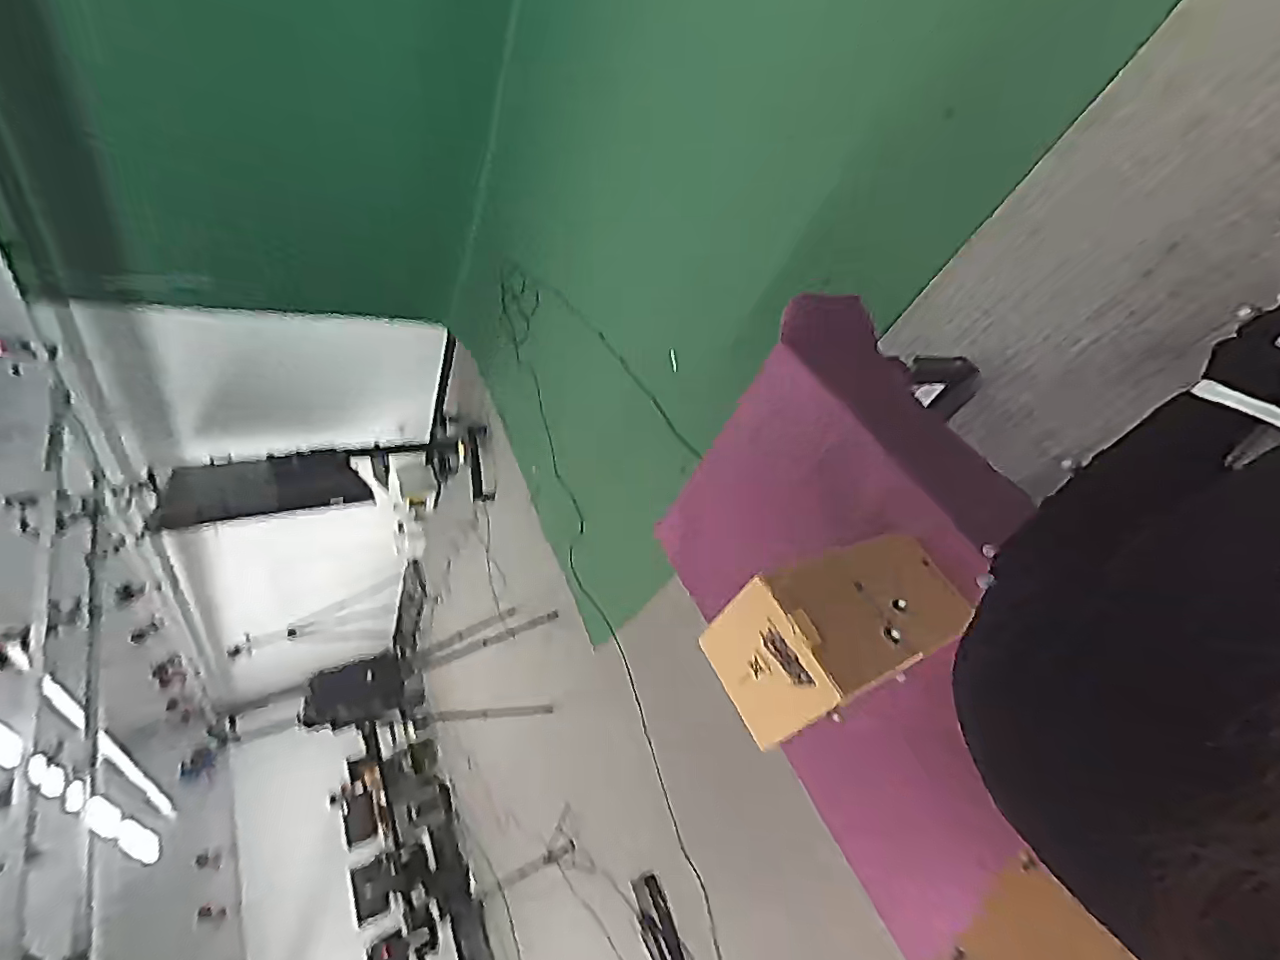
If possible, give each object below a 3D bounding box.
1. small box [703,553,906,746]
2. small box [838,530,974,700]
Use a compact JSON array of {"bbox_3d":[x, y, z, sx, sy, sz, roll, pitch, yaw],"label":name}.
[{"bbox_3d":[0.223,0.220,0.732,0.168,0.176,0.179,58,139,30],"label":"small box"},{"bbox_3d":[0.358,0.201,0.825,0.168,0.176,0.179,57,139,29],"label":"small box"}]
